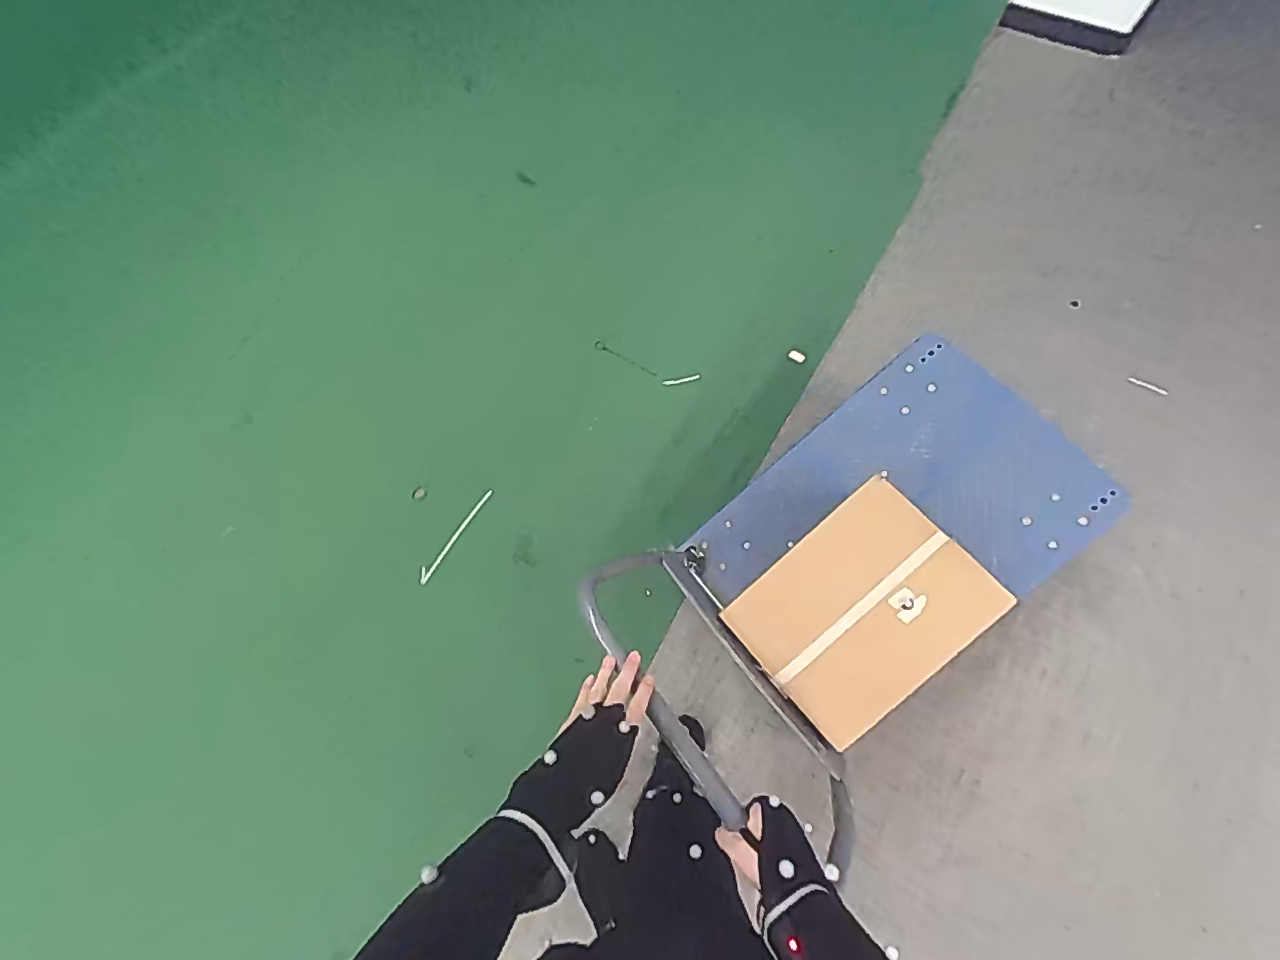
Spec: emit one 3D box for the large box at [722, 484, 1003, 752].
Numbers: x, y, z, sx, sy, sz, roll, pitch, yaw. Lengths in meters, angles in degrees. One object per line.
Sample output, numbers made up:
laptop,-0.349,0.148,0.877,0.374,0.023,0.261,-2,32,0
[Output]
large box,0.431,0.276,1.136,0.408,0.320,0.320,-42,73,4
